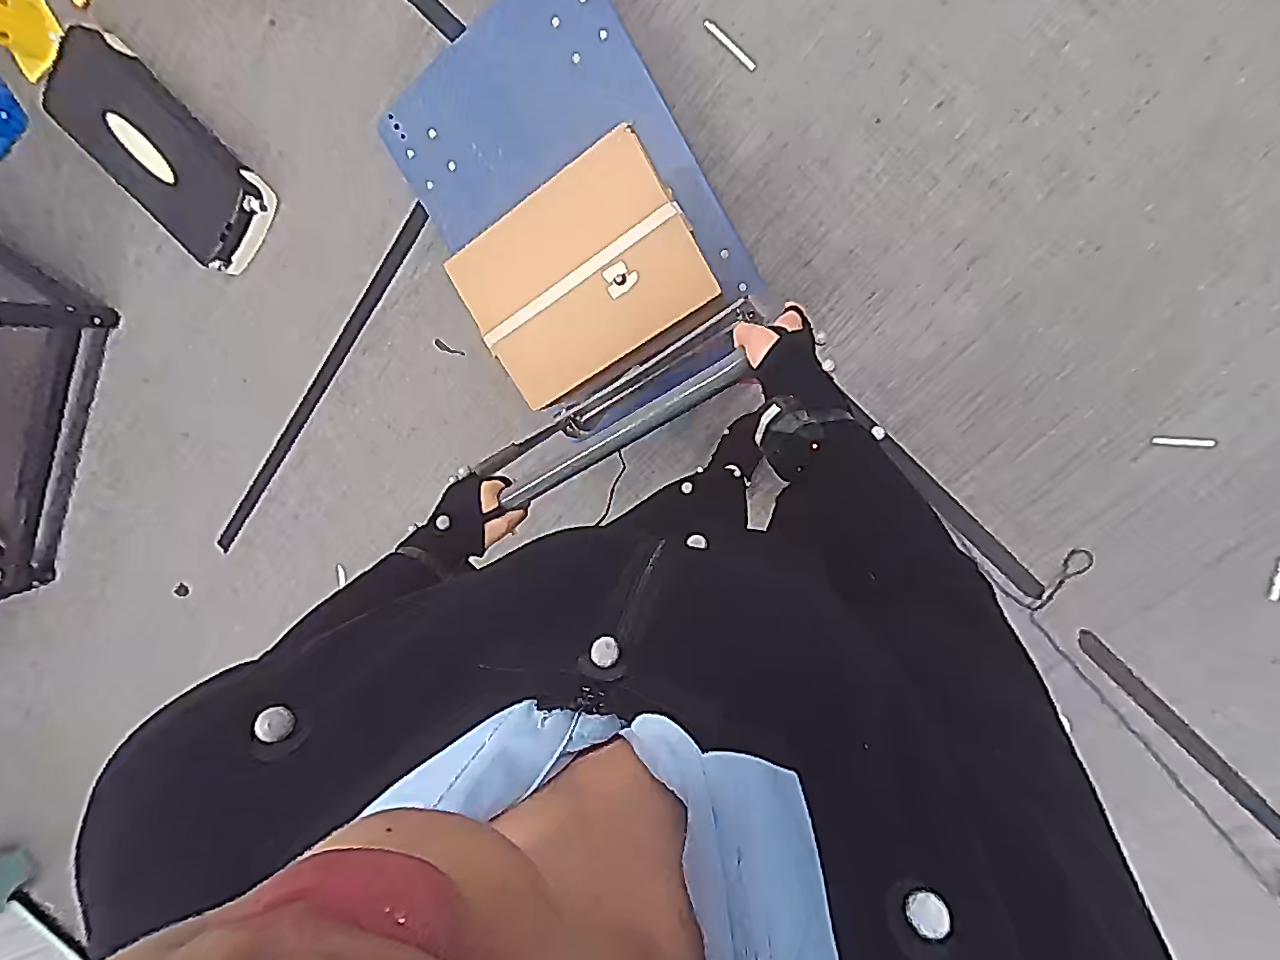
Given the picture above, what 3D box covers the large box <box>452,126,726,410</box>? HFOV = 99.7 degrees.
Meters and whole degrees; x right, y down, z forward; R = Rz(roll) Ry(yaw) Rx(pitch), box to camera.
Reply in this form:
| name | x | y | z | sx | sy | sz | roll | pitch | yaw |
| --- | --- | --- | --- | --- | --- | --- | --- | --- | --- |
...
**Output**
| name | x | y | z | sx | sy | sz | roll | pitch | yaw |
| --- | --- | --- | --- | --- | --- | --- | --- | --- | --- |
| large box | -0.078 | -0.385 | 1.088 | 0.408 | 0.320 | 0.320 | -30 | 97 | 16 |
